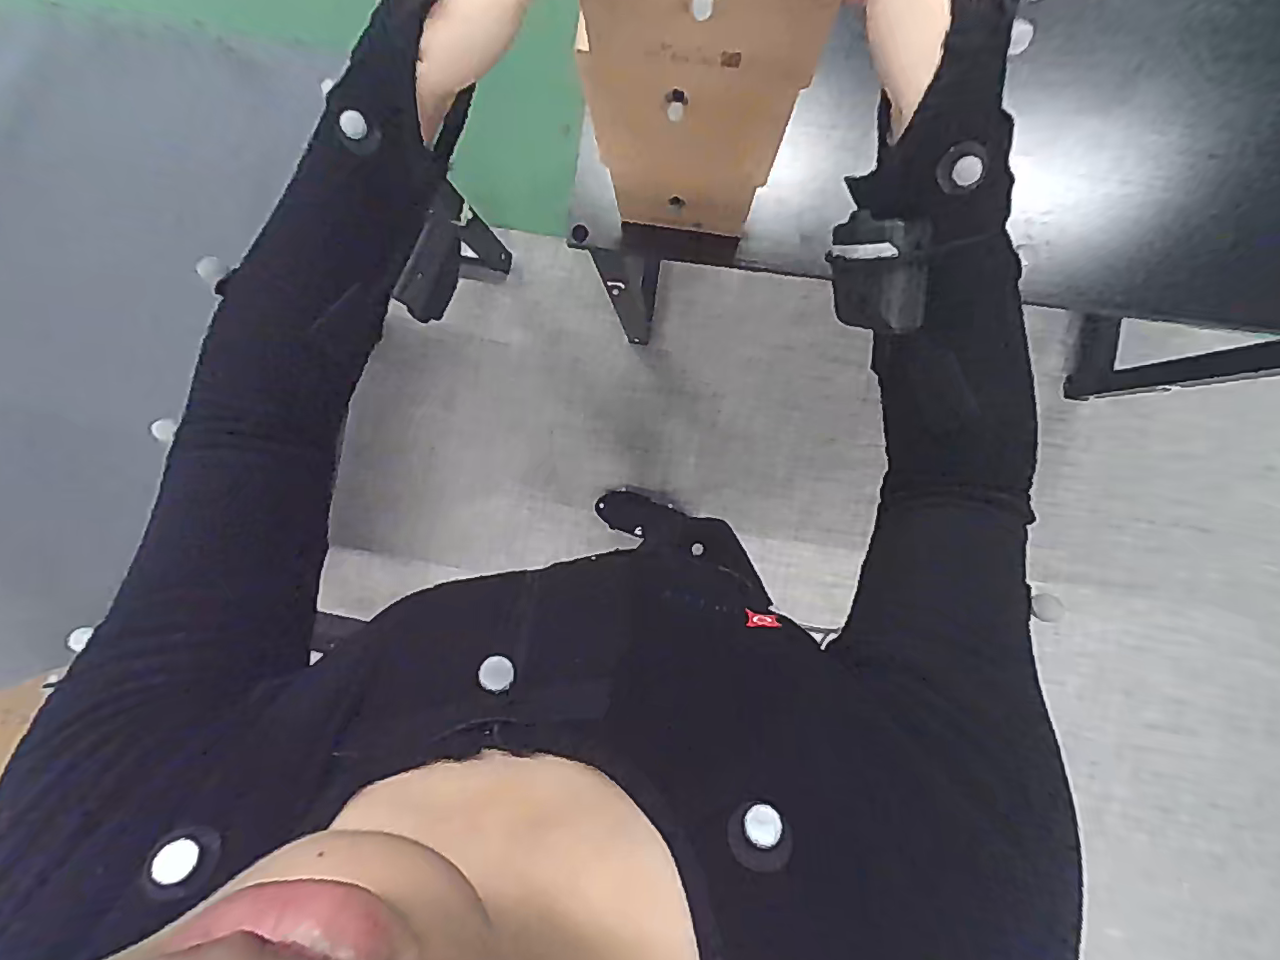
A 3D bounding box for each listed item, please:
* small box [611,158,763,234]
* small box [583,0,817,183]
[{"bbox_3d":[0.068,-0.412,0.633,0.168,0.176,0.179,9,93,3],"label":"small box"},{"bbox_3d":[0.060,-0.386,0.472,0.179,0.176,0.168,9,94,4],"label":"small box"}]
